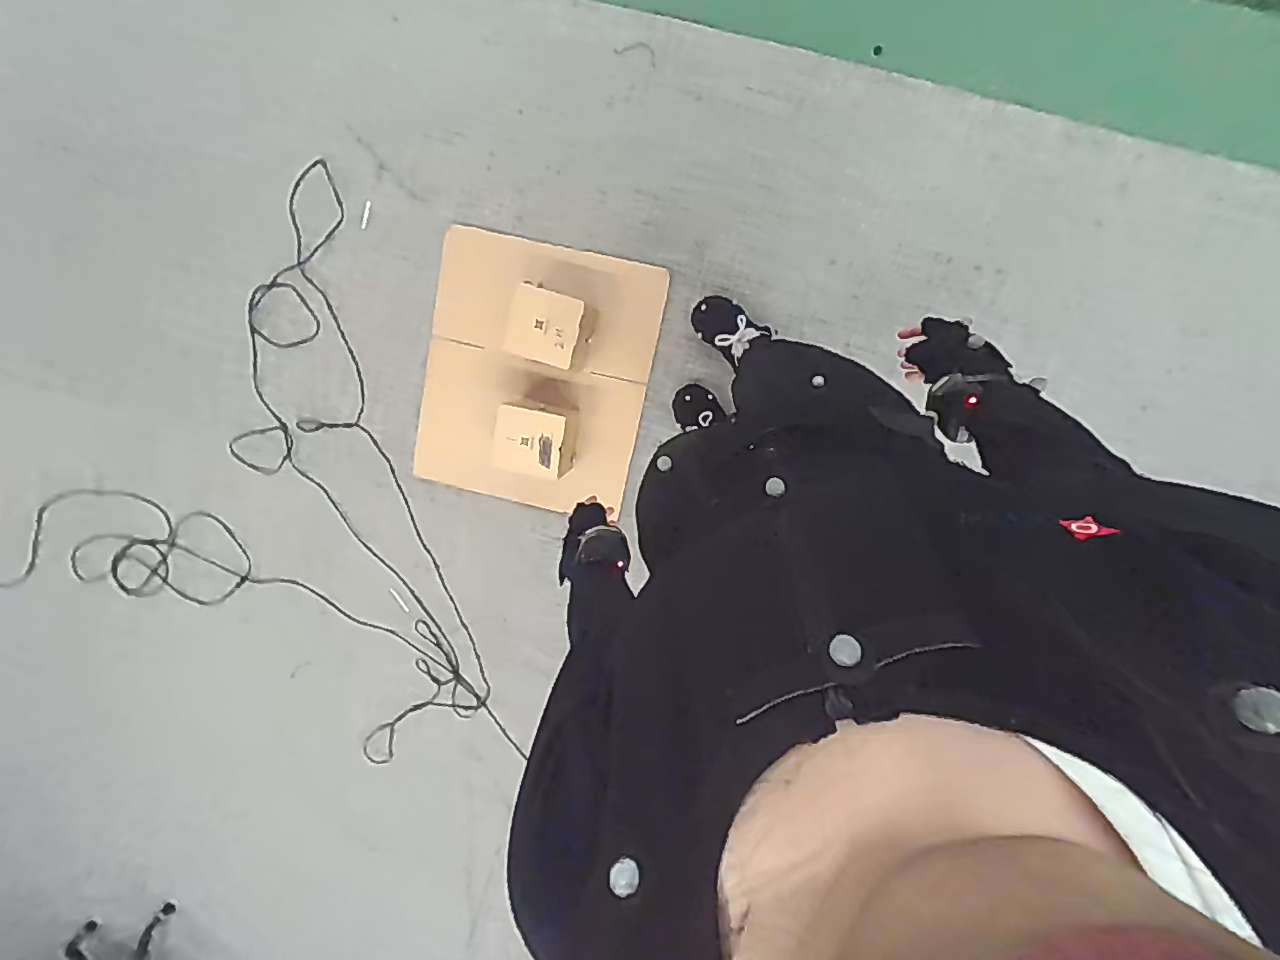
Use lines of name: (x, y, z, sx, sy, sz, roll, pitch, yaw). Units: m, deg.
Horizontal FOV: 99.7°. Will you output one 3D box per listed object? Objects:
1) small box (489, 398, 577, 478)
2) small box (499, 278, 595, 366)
small box: (-0.270, -0.116, 1.404, 0.179, 0.176, 0.168, 12, 102, 4)
small box: (-0.226, -0.387, 1.349, 0.179, 0.176, 0.168, 17, 103, 2)
